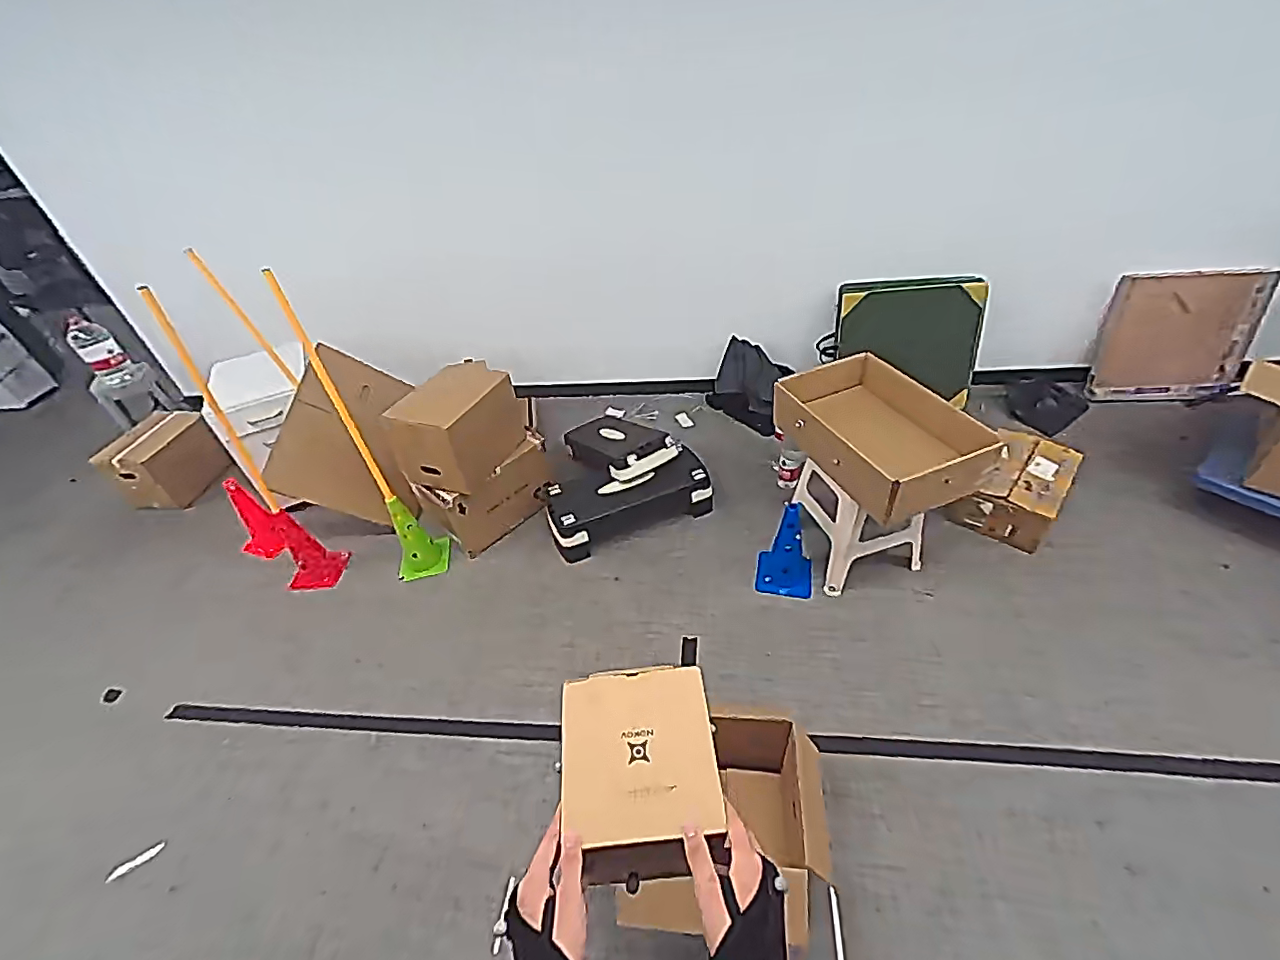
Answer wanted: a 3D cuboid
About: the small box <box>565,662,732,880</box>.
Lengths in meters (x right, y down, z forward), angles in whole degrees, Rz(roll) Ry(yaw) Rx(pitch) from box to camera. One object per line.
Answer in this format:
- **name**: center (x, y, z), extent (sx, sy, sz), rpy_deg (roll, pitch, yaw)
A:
- **small box**: center (0.003, 0.341, 0.635), extent (0.168, 0.176, 0.179), rpy_deg (-7, 46, -3)
